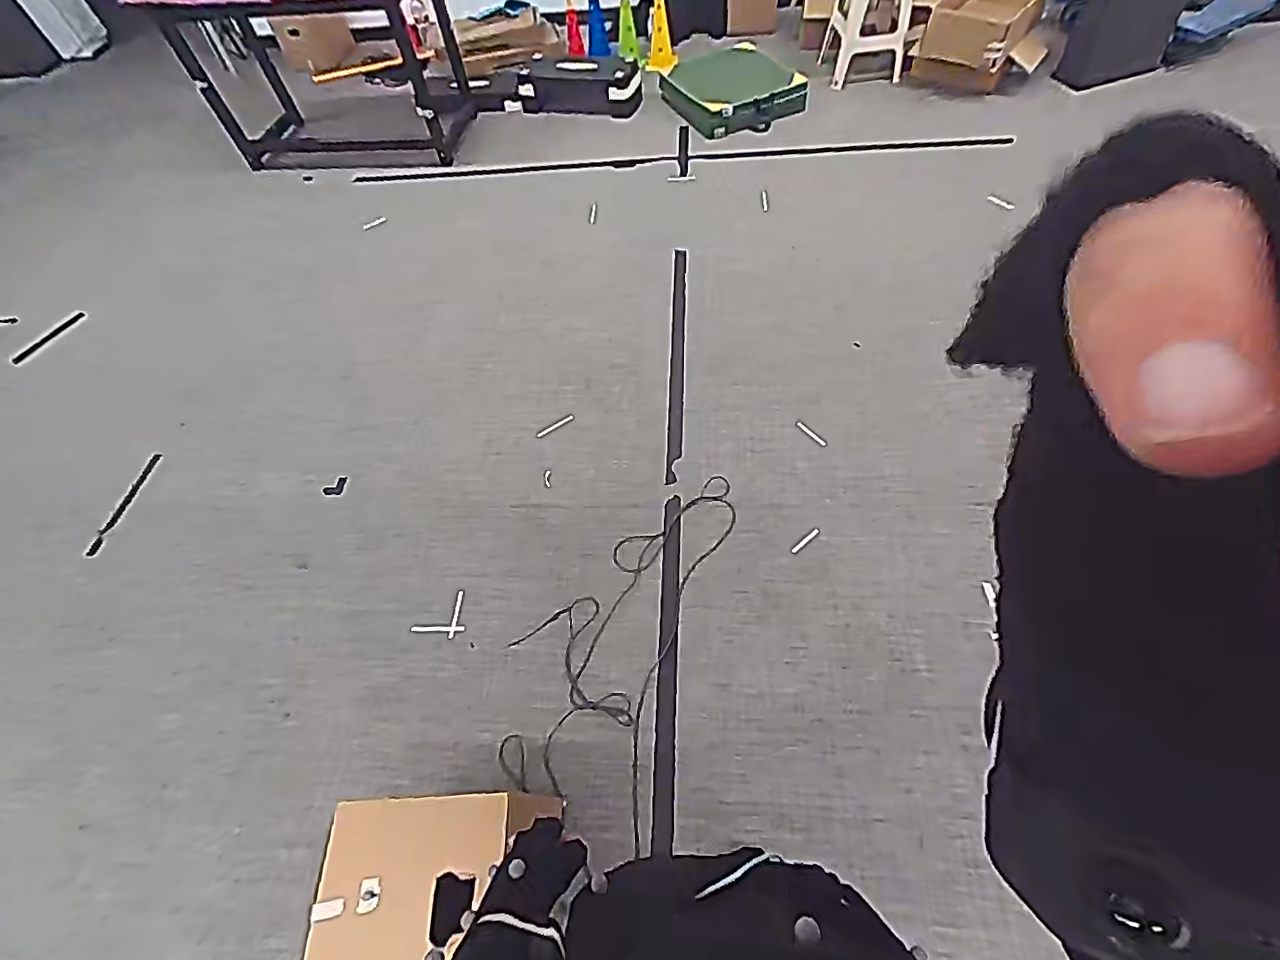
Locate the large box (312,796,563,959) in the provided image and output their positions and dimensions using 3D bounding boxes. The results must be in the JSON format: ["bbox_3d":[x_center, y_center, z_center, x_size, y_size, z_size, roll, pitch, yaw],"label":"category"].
[{"bbox_3d":[-0.348,0.794,1.030,0.320,0.408,0.320,-4,58,4],"label":"large box"}]
